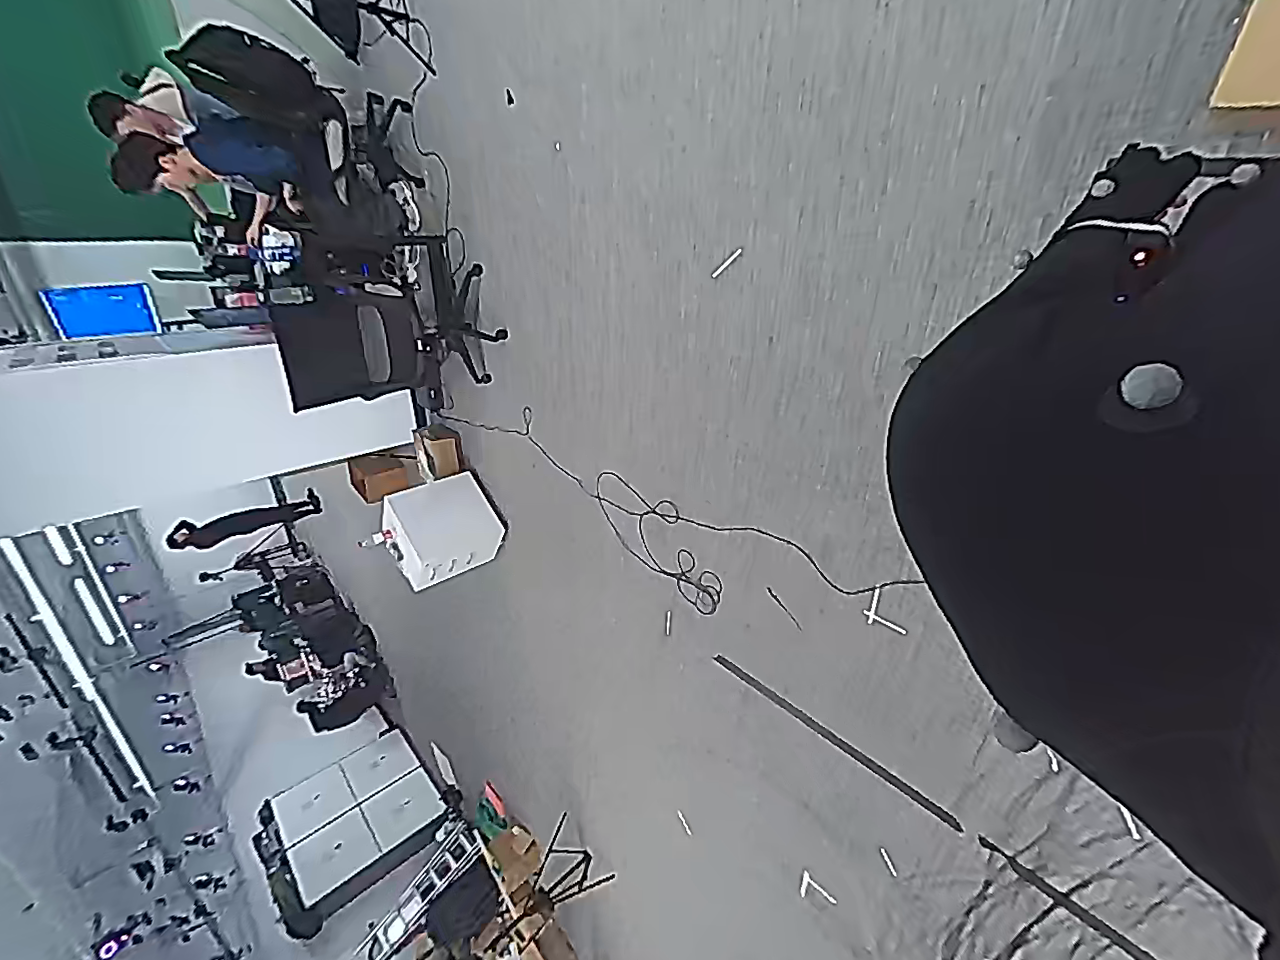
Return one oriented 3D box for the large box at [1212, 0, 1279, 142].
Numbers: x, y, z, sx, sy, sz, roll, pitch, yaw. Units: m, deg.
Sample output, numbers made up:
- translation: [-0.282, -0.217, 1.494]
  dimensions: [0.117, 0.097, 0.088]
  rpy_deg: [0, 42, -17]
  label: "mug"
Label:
- translation: [1.055, -0.623, 0.670]
  dimensions: [0.408, 0.320, 0.320]
  rpy_deg: [27, 126, 38]
  label: "large box"
